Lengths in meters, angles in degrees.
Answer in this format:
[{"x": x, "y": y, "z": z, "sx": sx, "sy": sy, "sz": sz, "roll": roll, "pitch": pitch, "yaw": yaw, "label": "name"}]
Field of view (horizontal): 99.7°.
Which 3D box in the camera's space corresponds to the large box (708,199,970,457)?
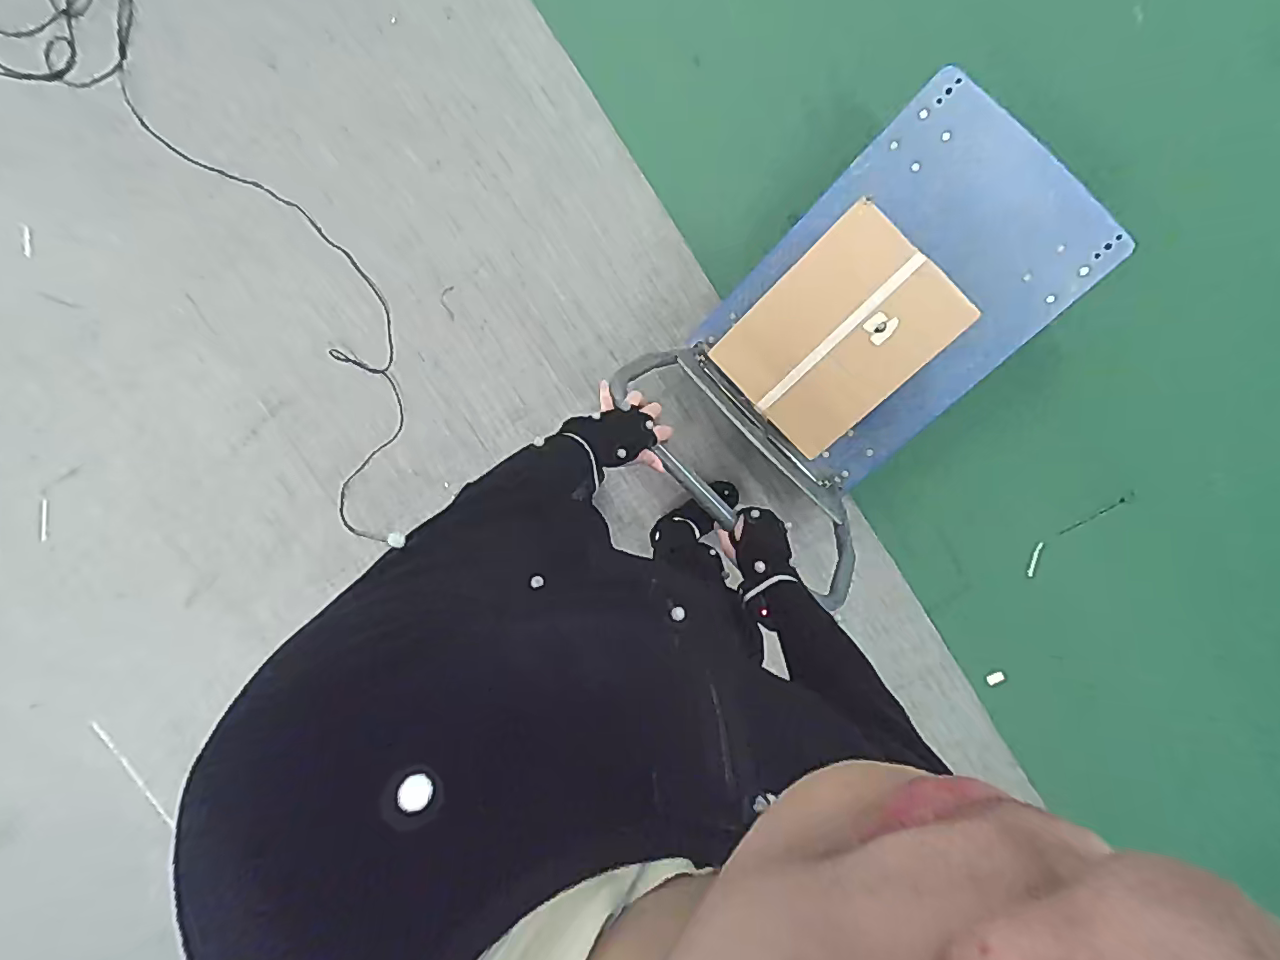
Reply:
[{"x": 0.409, "y": -0.309, "z": 1.200, "sx": 0.320, "sy": 0.320, "sz": 0.408, "roll": 46, "pitch": 107, "yaw": 1, "label": "large box"}]
